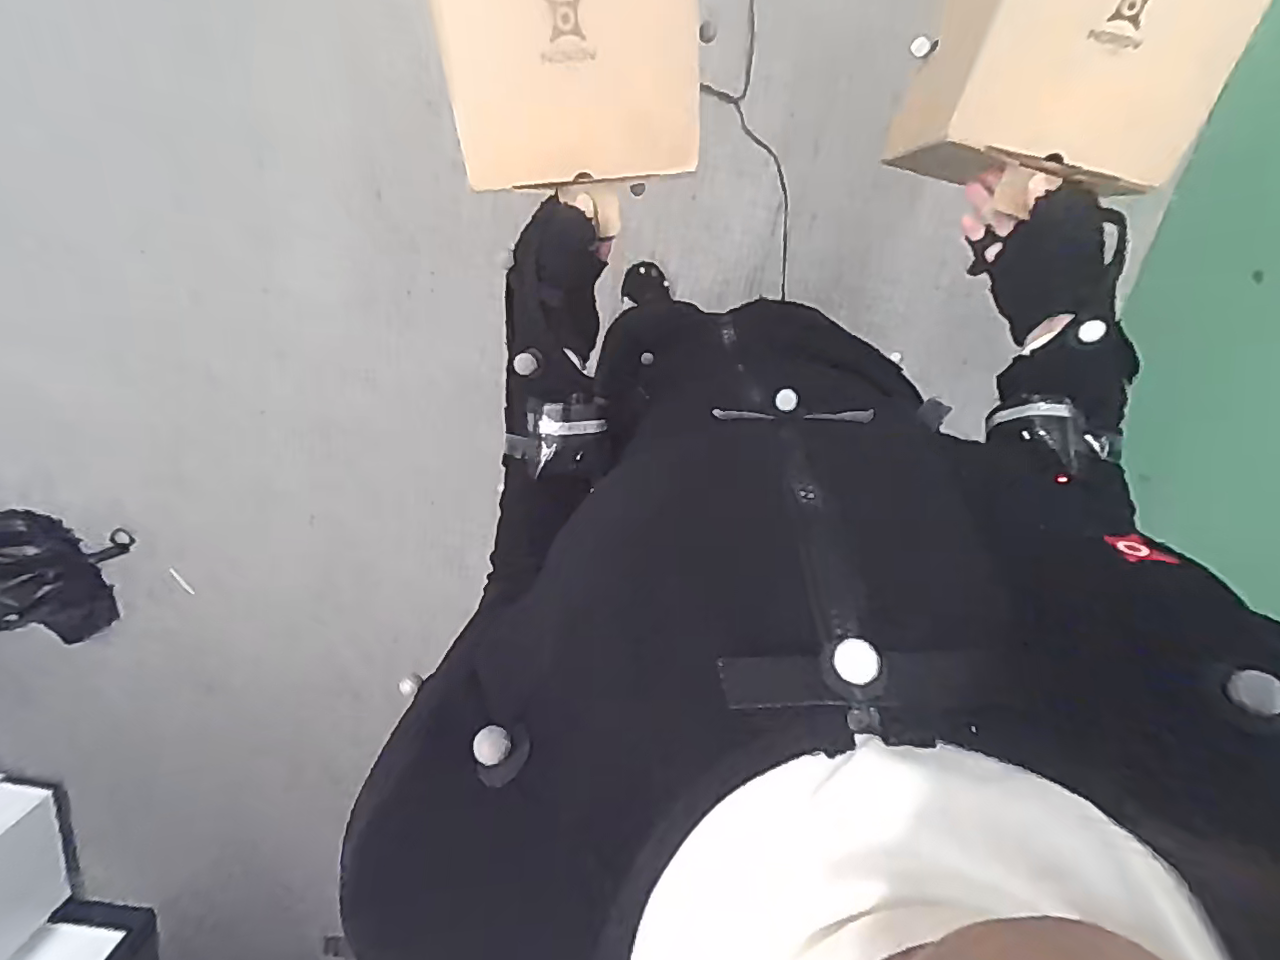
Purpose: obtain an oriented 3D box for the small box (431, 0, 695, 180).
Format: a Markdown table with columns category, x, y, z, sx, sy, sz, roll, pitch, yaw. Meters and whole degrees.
| category | x | y | z | sx | sy | sz | roll | pitch | yaw |
| --- | --- | --- | --- | --- | --- | --- | --- | --- | --- |
| small box | -0.047 | -0.335 | 0.402 | 0.168 | 0.176 | 0.179 | -4 | 122 | 2 |
